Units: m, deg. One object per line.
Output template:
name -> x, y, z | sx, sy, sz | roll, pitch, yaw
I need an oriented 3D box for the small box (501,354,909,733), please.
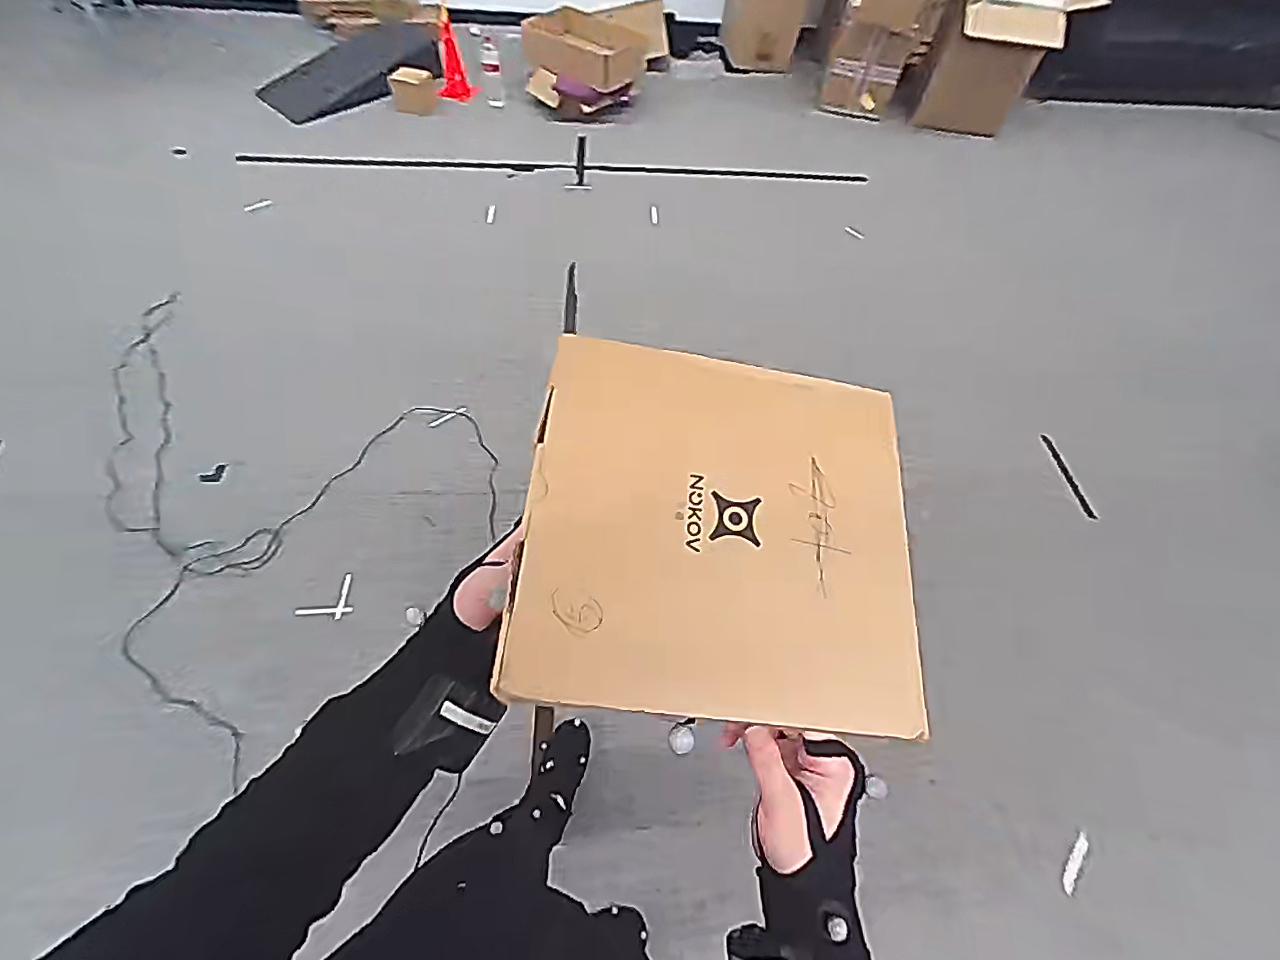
small box -> 0.022, 0.052, 0.323 | 0.179, 0.176, 0.168 | 8, 67, -9
